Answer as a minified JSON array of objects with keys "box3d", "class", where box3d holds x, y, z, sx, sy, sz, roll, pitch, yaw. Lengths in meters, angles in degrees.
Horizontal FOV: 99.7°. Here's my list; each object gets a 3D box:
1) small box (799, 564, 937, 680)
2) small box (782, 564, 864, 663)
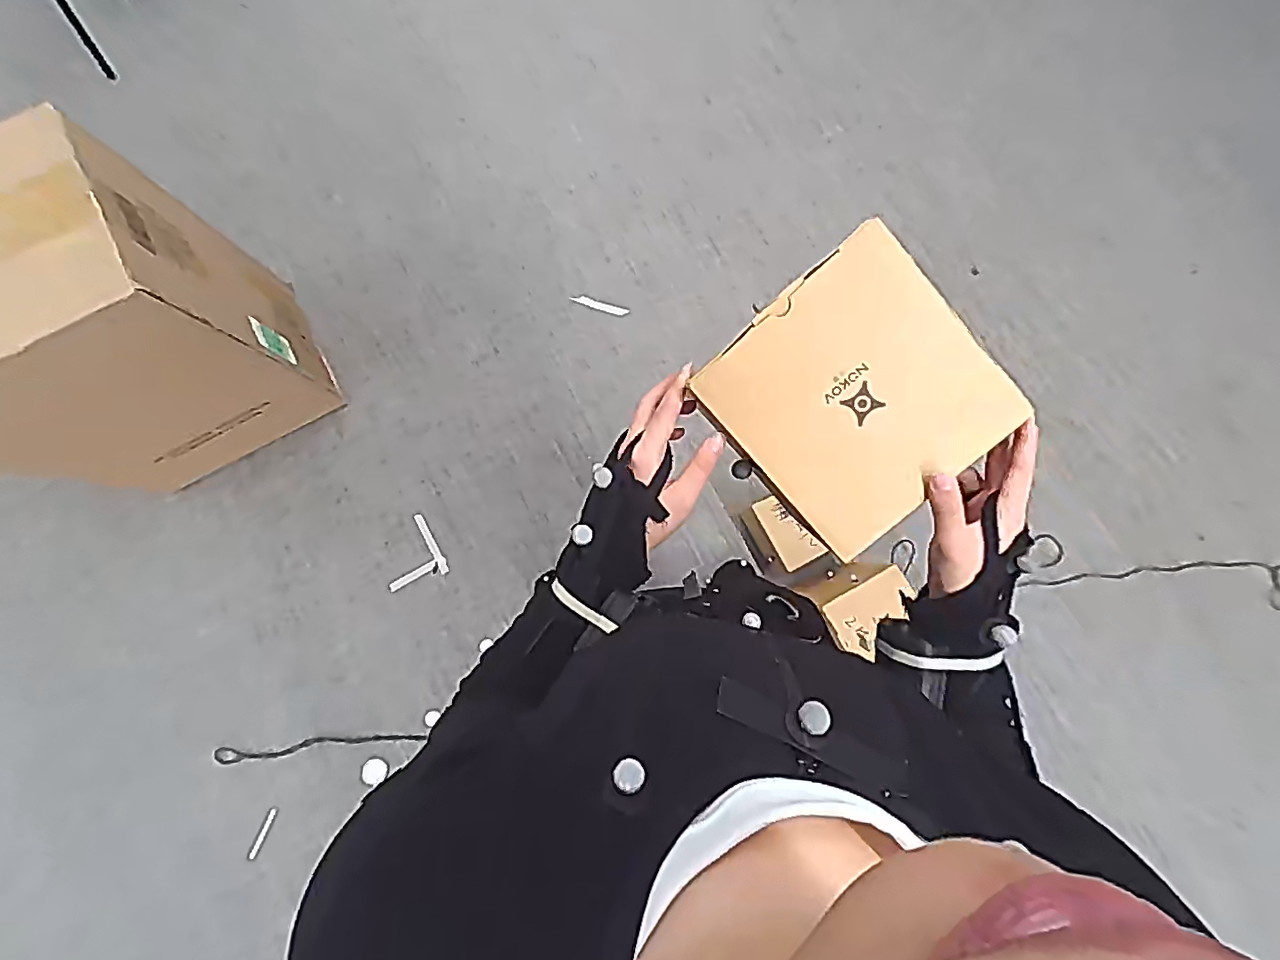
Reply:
[{"box3d":[0.462,0.283,1.124,0.179,0.176,0.168,-29,81,-3],"class":"small box"},{"box3d":[0.465,0.306,1.287,0.179,0.176,0.168,-27,82,-2],"class":"small box"}]
